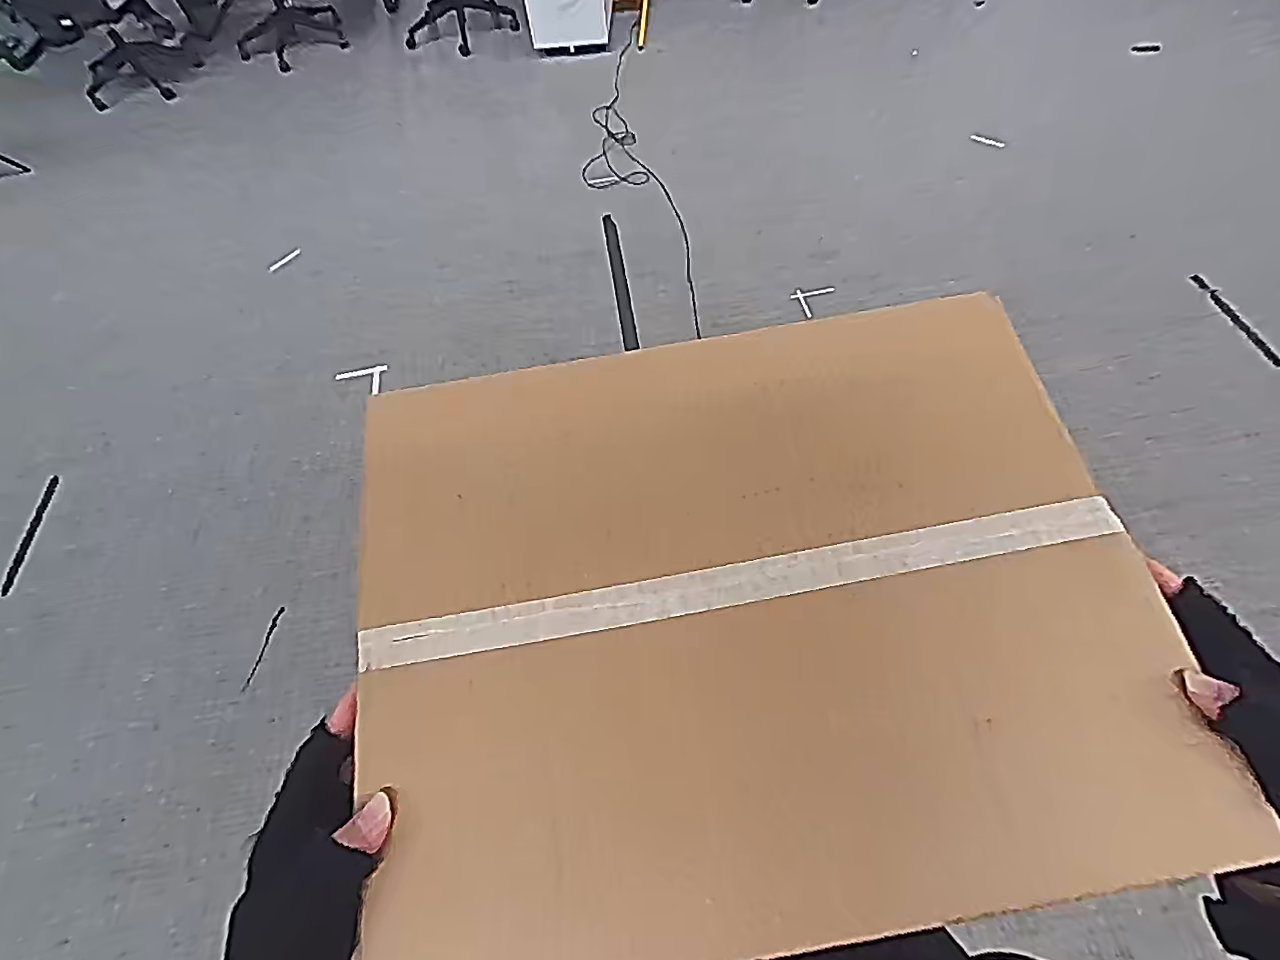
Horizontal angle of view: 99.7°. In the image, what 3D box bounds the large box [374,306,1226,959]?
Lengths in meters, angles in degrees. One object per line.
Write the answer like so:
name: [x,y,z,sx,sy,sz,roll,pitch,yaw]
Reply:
large box: [0.061,0.114,0.436,0.408,0.320,0.320,-11,67,-1]
